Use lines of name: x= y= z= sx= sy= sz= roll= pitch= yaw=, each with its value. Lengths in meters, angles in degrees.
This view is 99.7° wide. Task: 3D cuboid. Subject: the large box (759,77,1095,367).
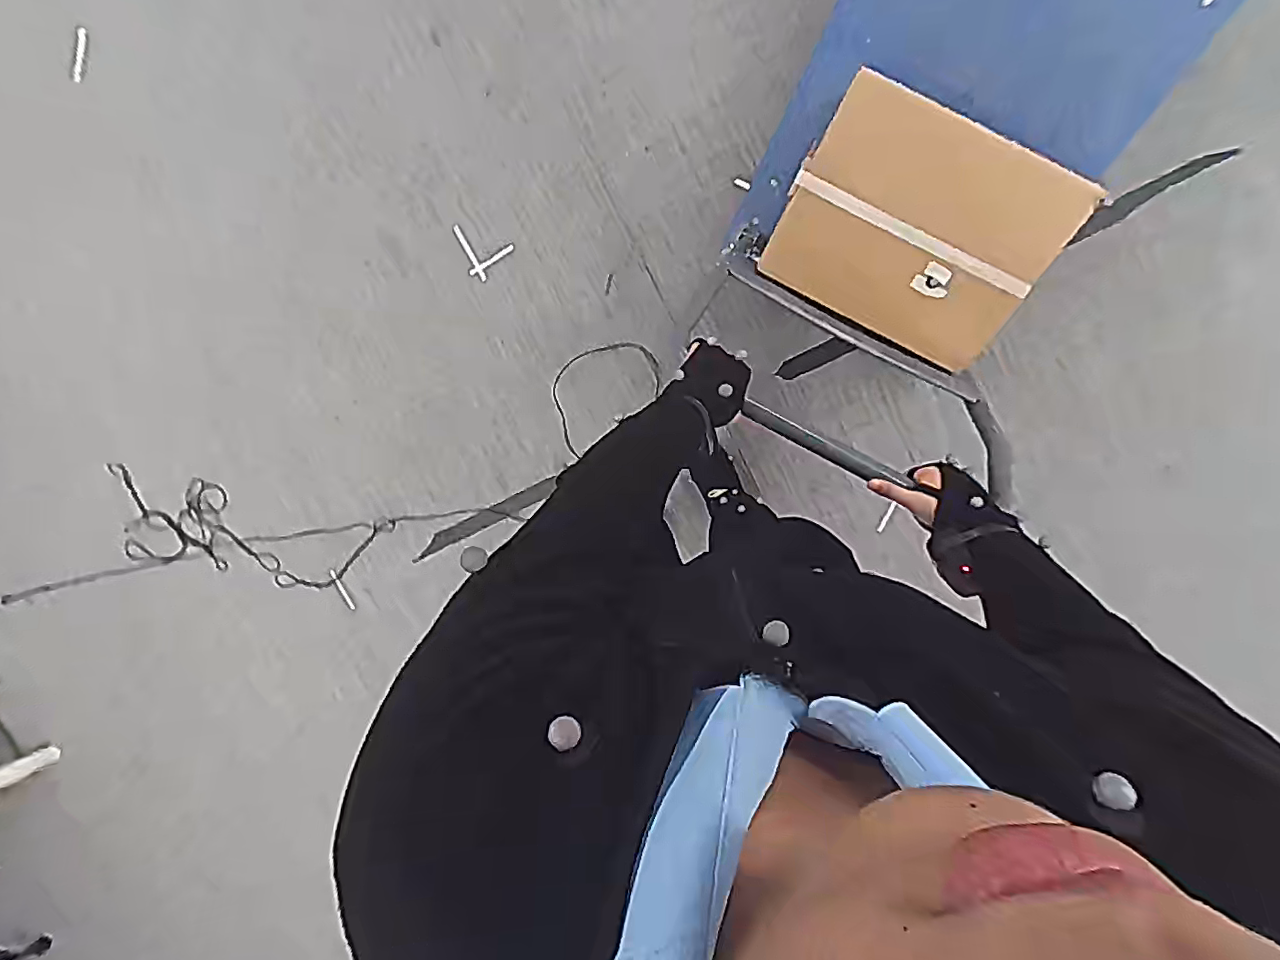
large box: x=0.477 y=-0.470 z=1.007 sx=0.408 sy=0.320 sz=0.320 roll=27 pitch=123 yaw=1
